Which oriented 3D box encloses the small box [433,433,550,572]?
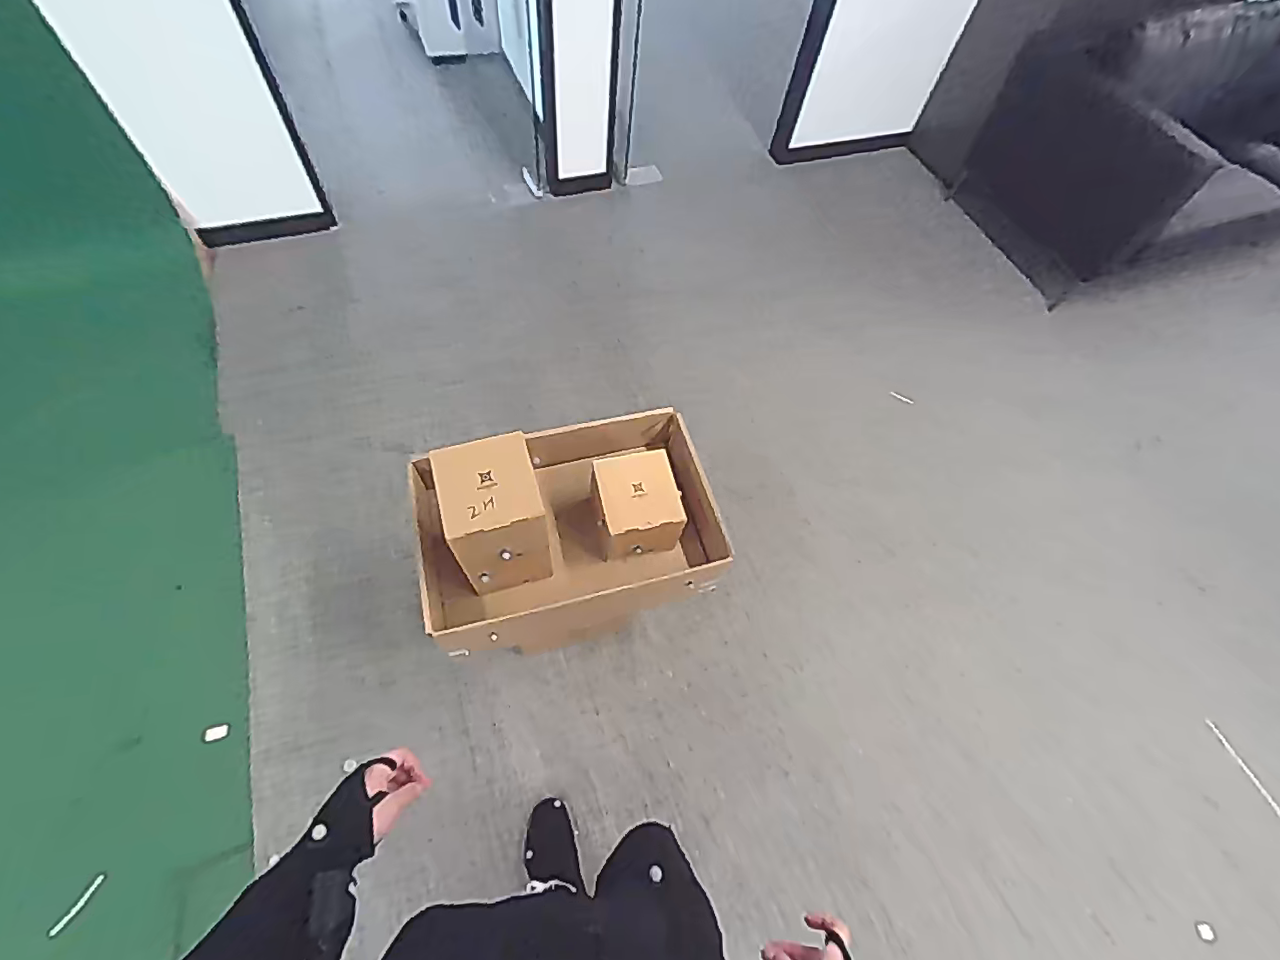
[{"bbox_3d":[-0.265,0.043,0.986,0.168,0.176,0.179,-14,64,-13],"label":"small box"}]
